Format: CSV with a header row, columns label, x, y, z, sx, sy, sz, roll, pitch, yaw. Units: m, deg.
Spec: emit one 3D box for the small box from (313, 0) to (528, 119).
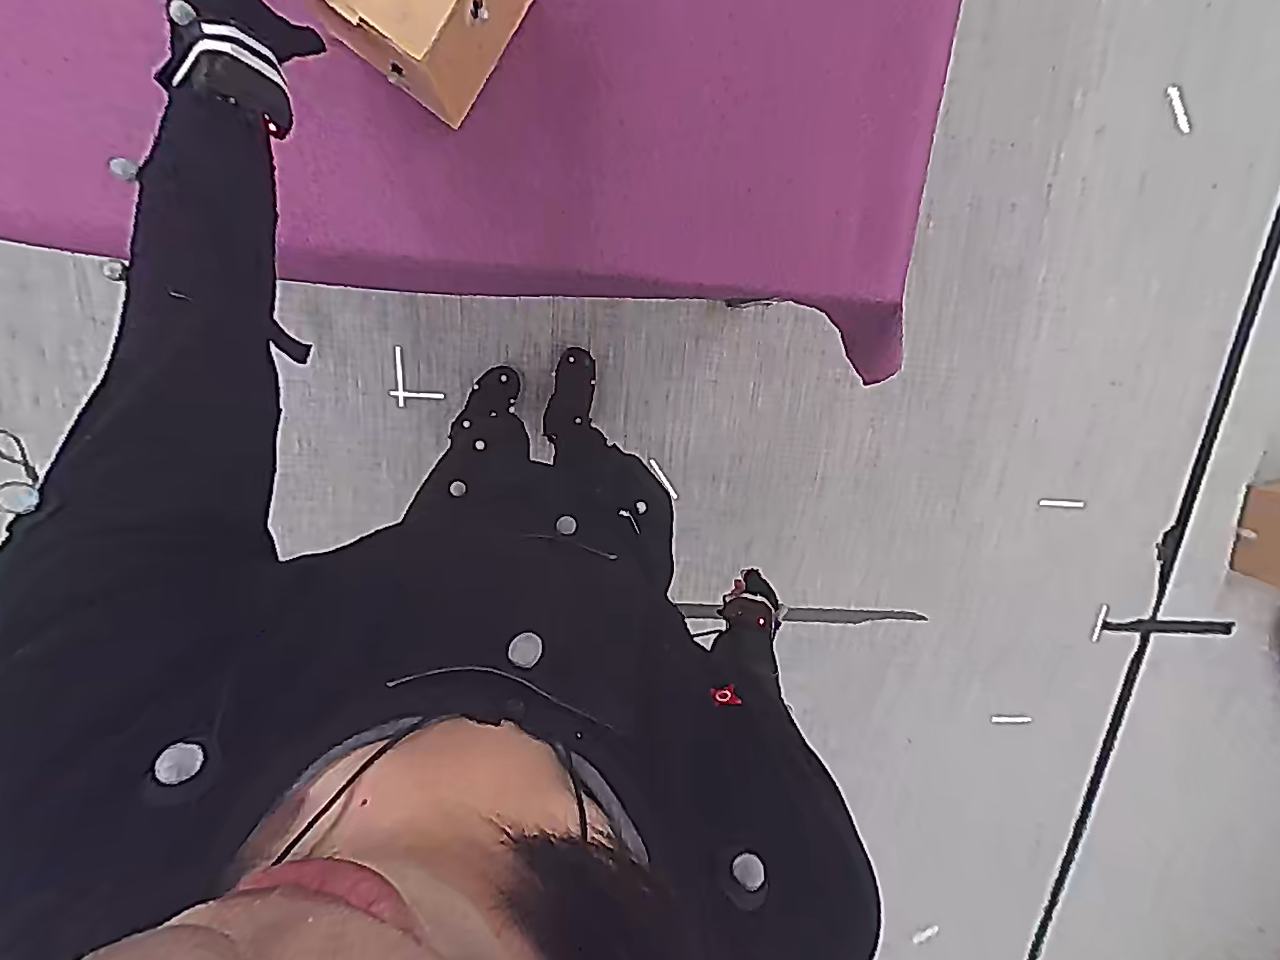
label,x,y,z,sx,sy,sz,roll,pitch,yaw
small box,-0.224,-0.510,0.535,0.168,0.176,0.179,33,99,-14
